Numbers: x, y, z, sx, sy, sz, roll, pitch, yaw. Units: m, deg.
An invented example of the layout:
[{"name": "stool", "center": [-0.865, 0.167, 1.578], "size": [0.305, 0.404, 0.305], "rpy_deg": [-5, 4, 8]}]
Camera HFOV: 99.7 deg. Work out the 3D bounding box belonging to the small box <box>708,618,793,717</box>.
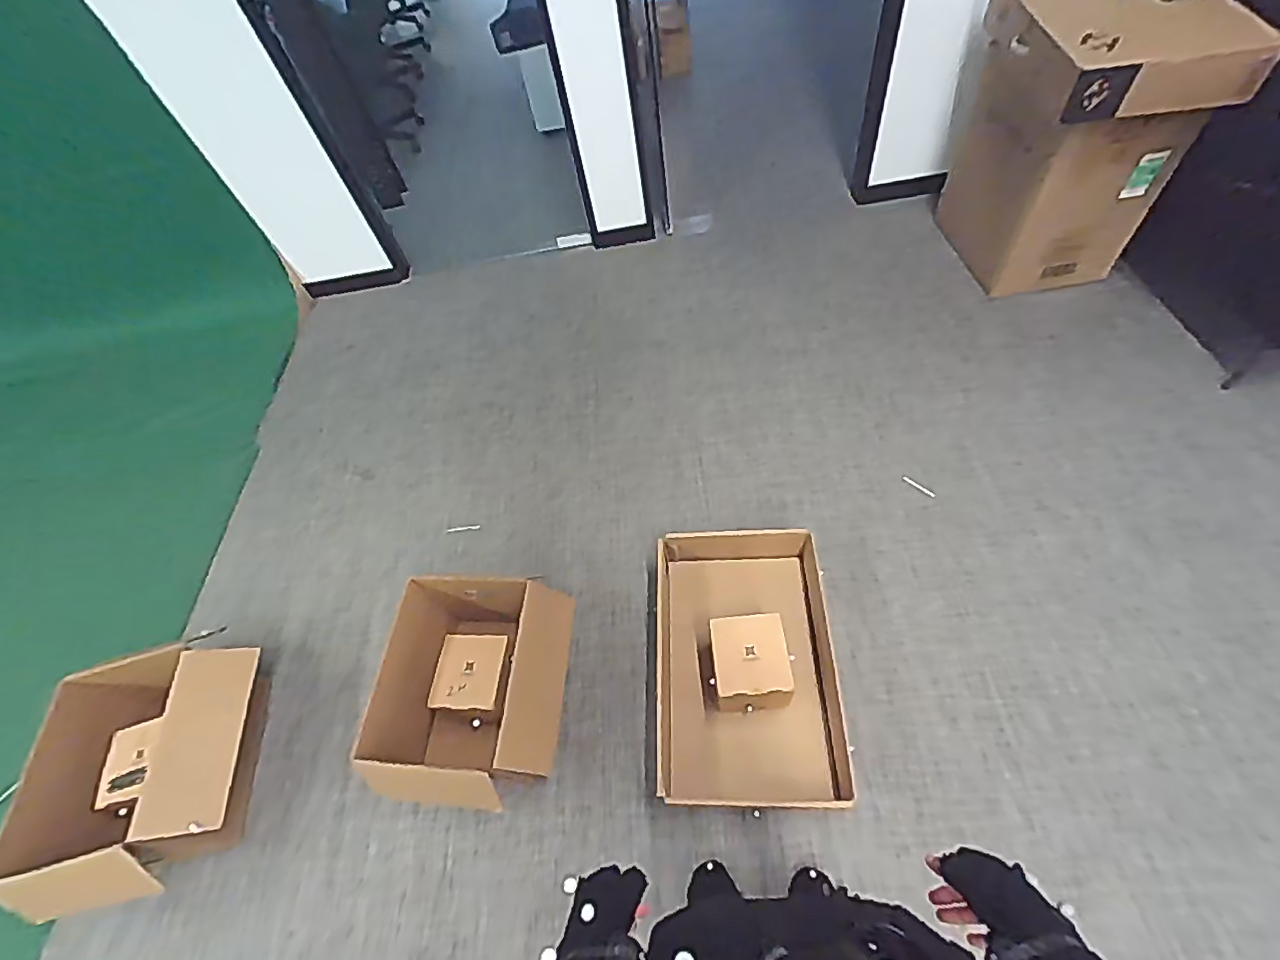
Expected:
[{"name": "small box", "center": [0.251, 0.443, 1.270], "size": [0.168, 0.176, 0.179], "rpy_deg": [-7, 55, 4]}]
